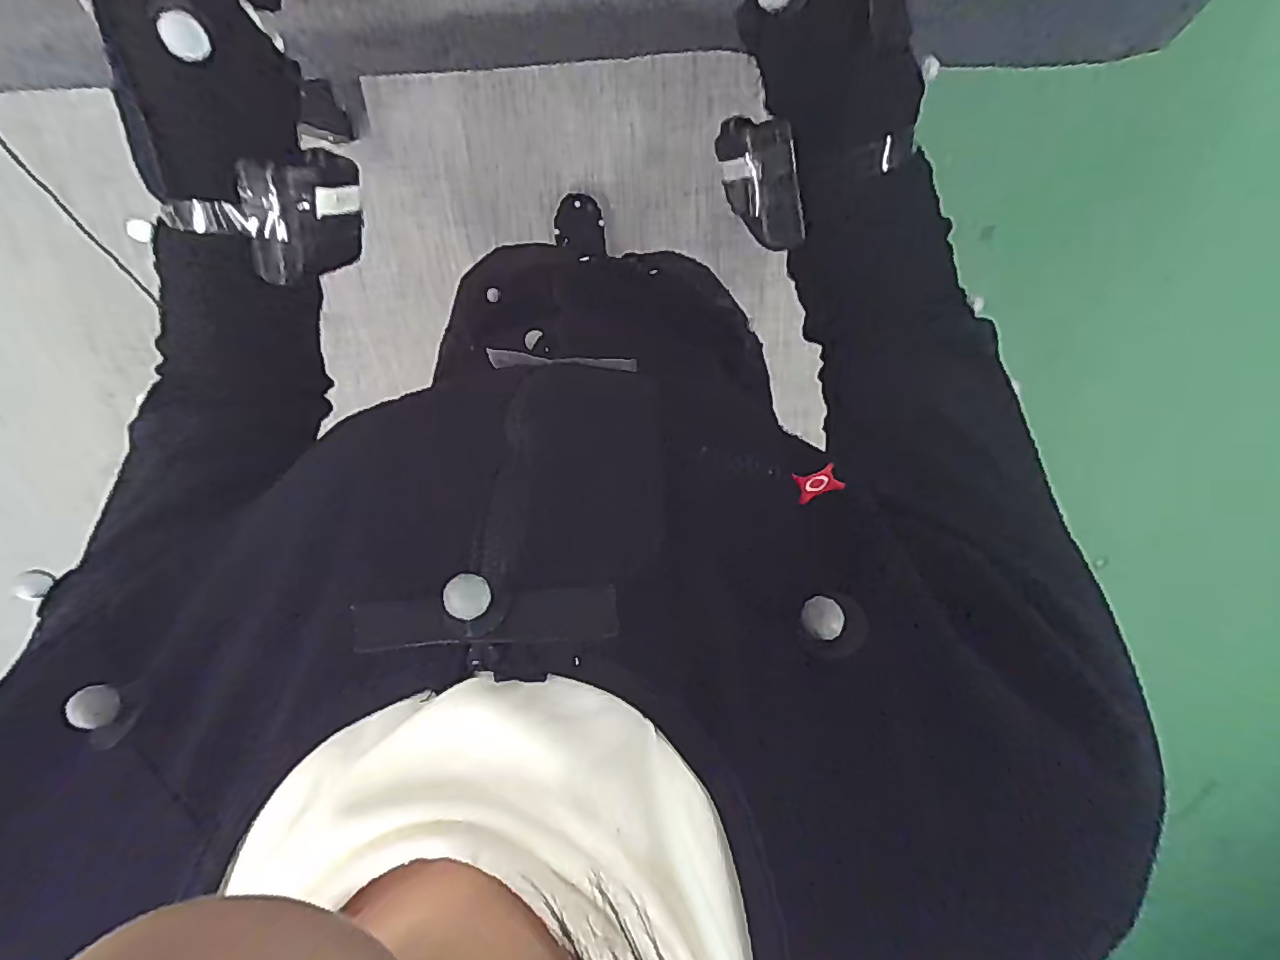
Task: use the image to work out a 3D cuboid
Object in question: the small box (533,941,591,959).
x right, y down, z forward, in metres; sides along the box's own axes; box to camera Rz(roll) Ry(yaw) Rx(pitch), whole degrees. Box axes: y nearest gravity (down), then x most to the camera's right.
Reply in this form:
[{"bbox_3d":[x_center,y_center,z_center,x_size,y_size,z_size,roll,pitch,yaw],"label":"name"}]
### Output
[{"bbox_3d":[-0.241,1.593,1.692,0.168,0.176,0.179,-12,116,1],"label":"small box"}]
